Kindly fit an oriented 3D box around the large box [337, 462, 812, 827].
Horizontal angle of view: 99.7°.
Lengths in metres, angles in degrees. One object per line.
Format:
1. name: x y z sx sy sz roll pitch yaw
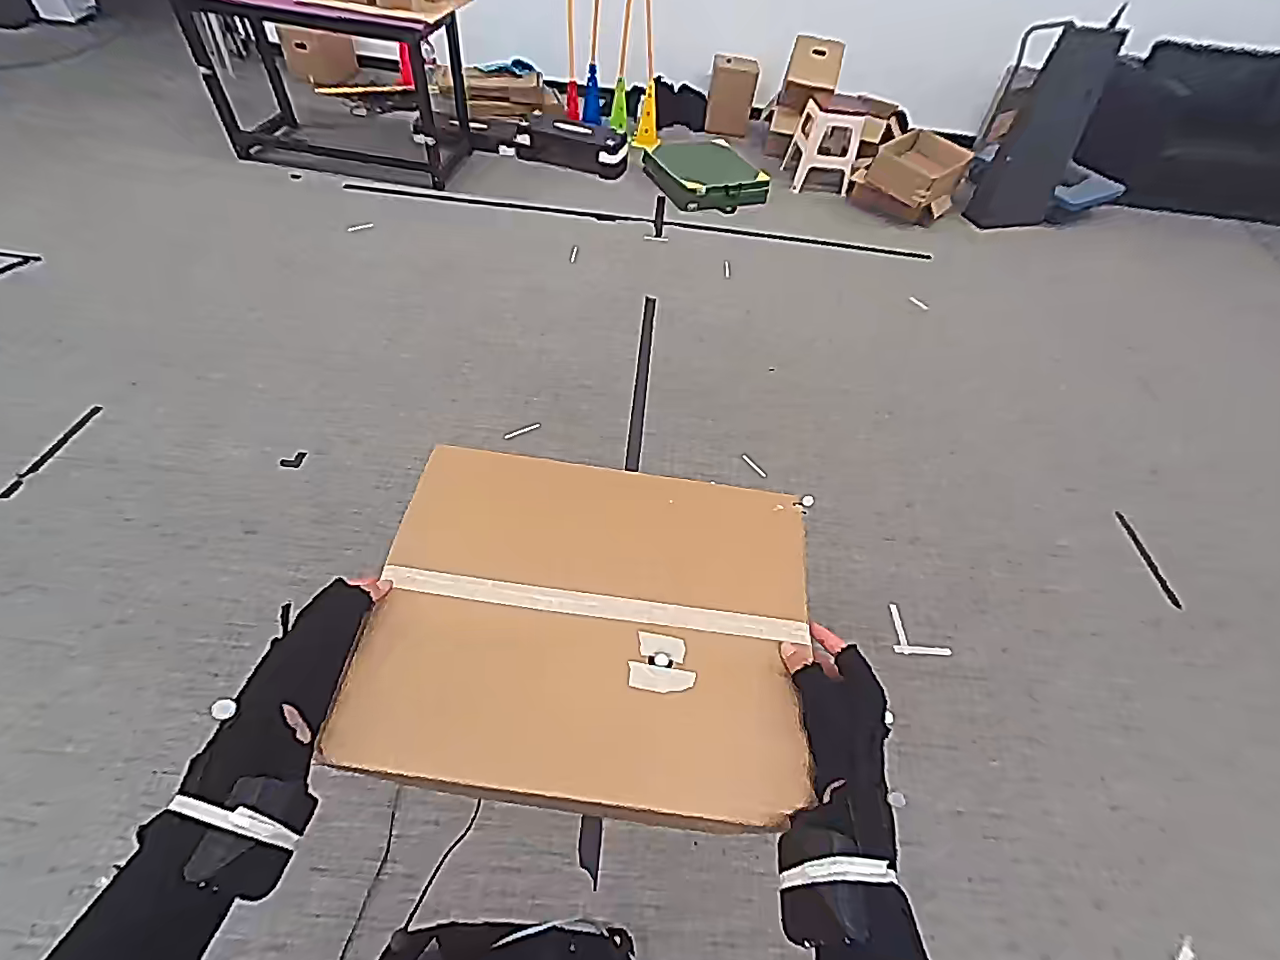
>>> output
1. large box: -0.051 0.210 0.648 0.408 0.320 0.320 8 57 0
